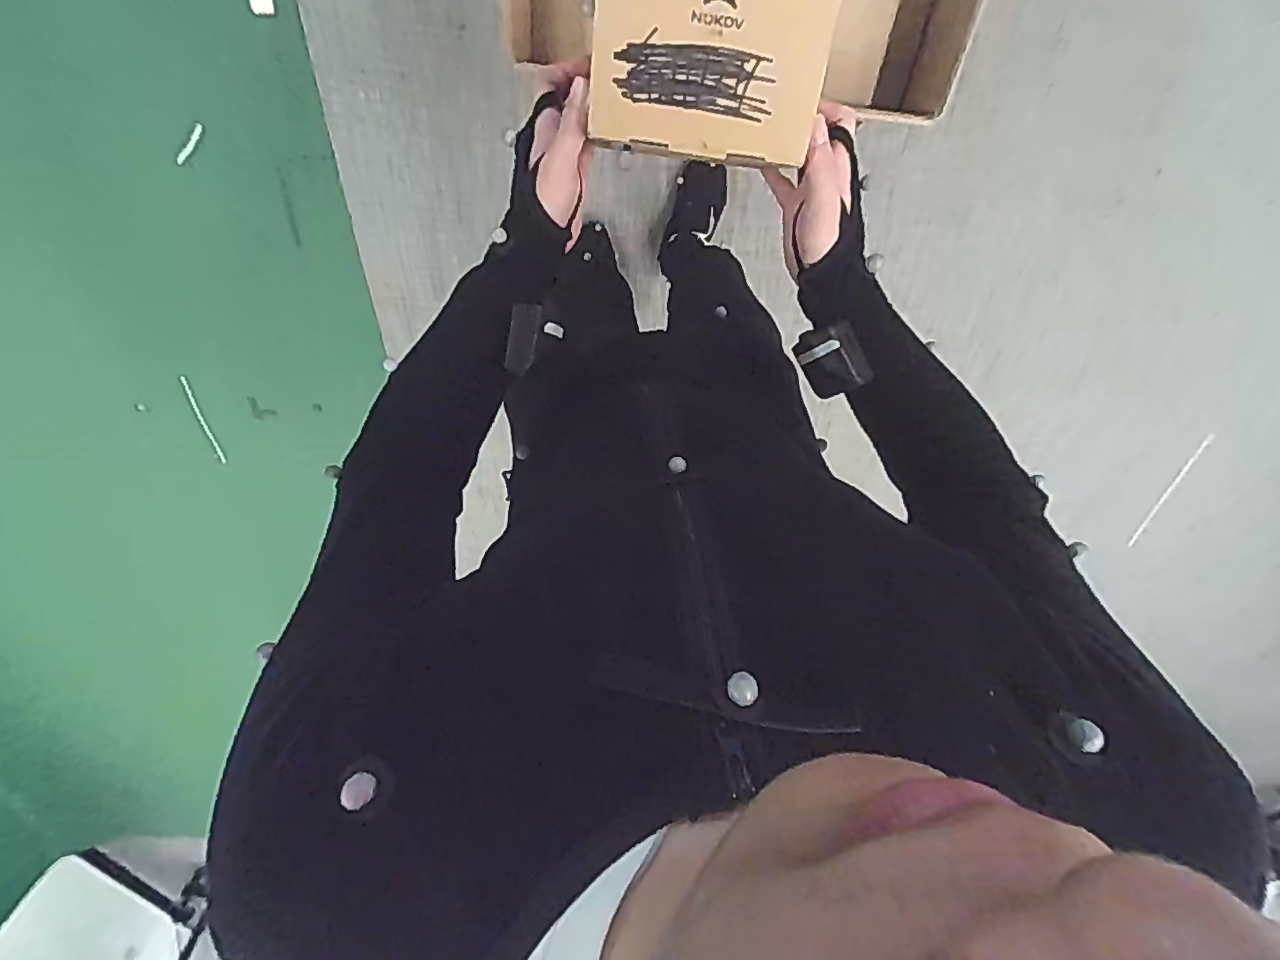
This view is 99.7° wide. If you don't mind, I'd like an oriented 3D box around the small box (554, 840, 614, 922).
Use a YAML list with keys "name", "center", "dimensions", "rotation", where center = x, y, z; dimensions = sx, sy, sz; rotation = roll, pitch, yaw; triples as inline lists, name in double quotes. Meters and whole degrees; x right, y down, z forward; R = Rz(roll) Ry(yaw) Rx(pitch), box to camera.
- name: "small box"
  center: [-0.176, 1.300, 1.753]
  dimensions: [0.168, 0.176, 0.179]
  rotation: [0, 126, 2]

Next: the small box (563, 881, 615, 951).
- name: "small box"
  center: [-0.179, 1.557, 1.940]
  dimensions: [0.168, 0.176, 0.179]
  rotation: [0, 125, 1]
